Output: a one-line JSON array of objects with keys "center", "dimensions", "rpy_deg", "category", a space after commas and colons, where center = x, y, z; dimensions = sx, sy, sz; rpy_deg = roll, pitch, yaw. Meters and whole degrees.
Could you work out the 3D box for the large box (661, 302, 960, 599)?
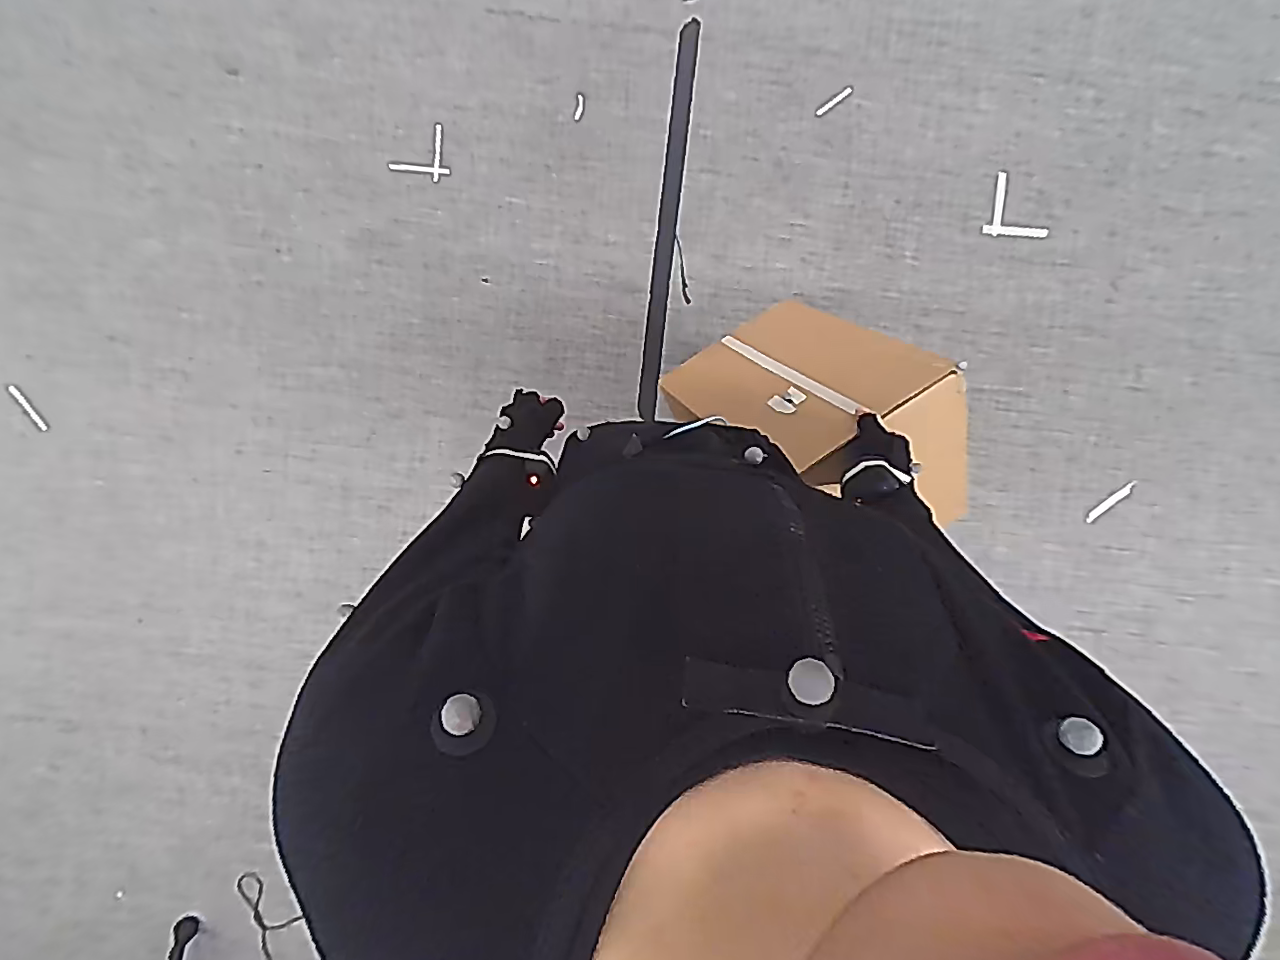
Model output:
[{"center": [0.296, -0.070, 0.990], "dimensions": [0.320, 0.408, 0.320], "rpy_deg": [-32, 130, -4], "category": "large box"}]
